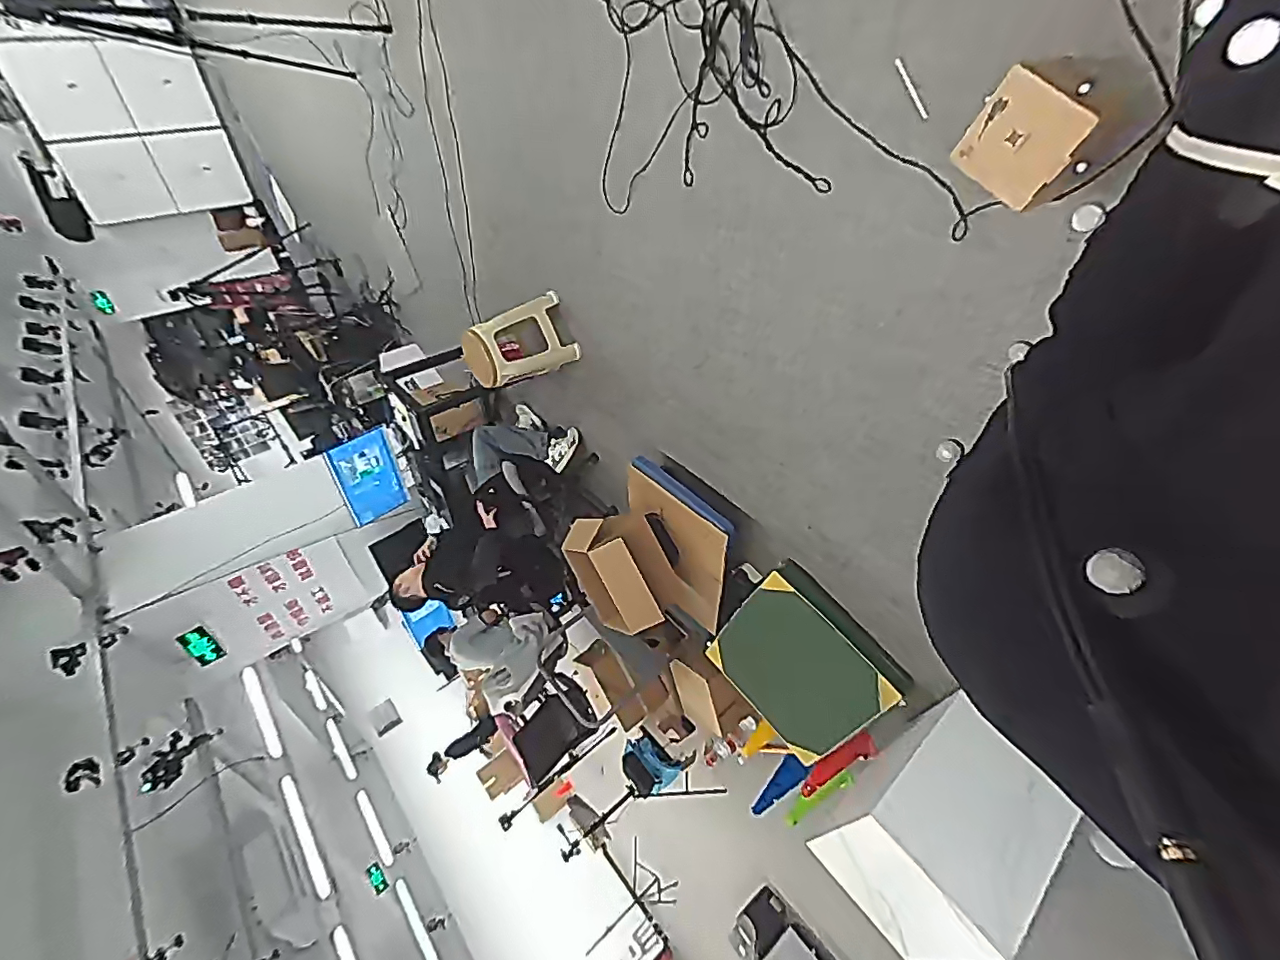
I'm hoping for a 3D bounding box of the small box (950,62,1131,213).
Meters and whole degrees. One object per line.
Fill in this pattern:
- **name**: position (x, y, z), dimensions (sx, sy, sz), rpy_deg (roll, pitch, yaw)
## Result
- **small box**: position (0.724, -0.626, 0.980), dimensions (0.179, 0.176, 0.168), rpy_deg (52, 150, 17)
